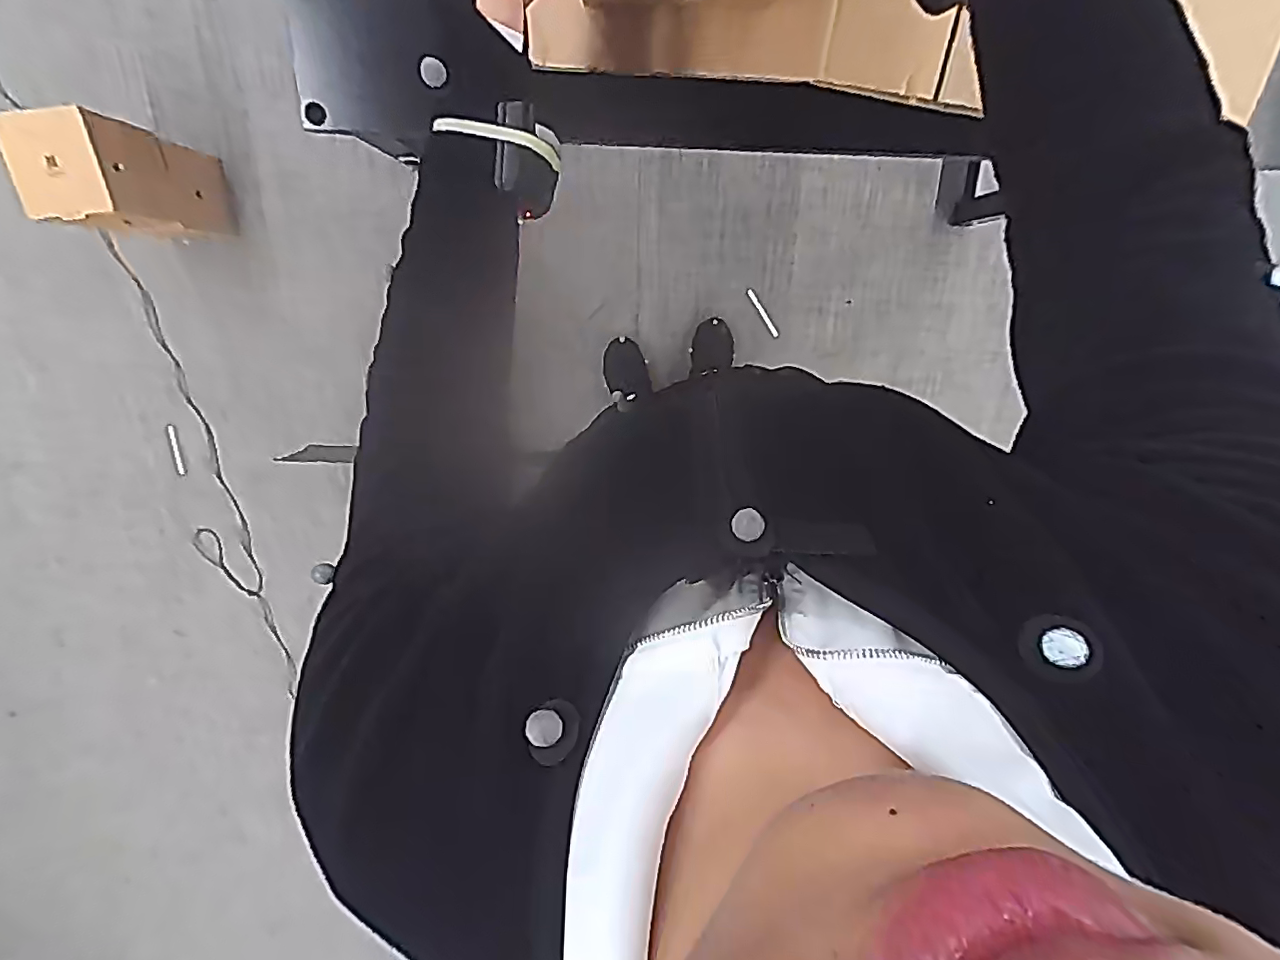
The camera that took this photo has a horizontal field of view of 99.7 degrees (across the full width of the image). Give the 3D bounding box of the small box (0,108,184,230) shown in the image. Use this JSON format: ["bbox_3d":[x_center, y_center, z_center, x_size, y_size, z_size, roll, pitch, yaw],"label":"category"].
[{"bbox_3d":[-1.056,-0.597,1.060,0.168,0.176,0.179,-5,107,0],"label":"small box"}]

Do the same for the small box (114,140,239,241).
[{"bbox_3d":[-1.055,-0.643,1.216,0.168,0.176,0.179,-2,109,0],"label":"small box"}]
